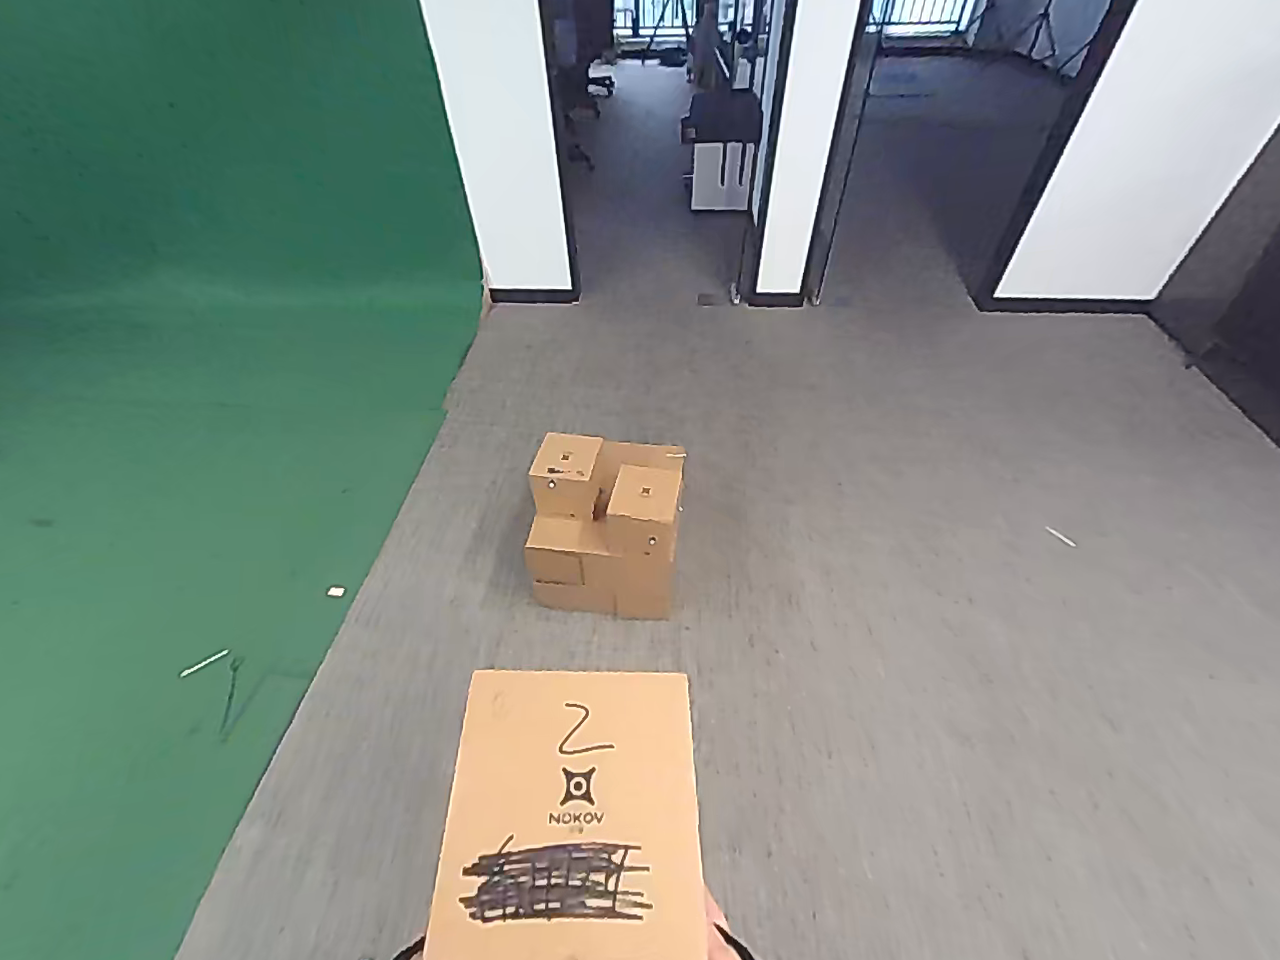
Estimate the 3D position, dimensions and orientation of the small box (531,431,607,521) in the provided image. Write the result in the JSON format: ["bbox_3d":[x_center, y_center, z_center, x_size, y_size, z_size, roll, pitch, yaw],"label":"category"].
[{"bbox_3d":[-0.191,-0.013,1.515,0.168,0.176,0.179,6,45,9],"label":"small box"}]

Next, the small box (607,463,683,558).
[{"bbox_3d":[0.017,0.083,1.417,0.168,0.176,0.179,9,46,8],"label":"small box"}]
